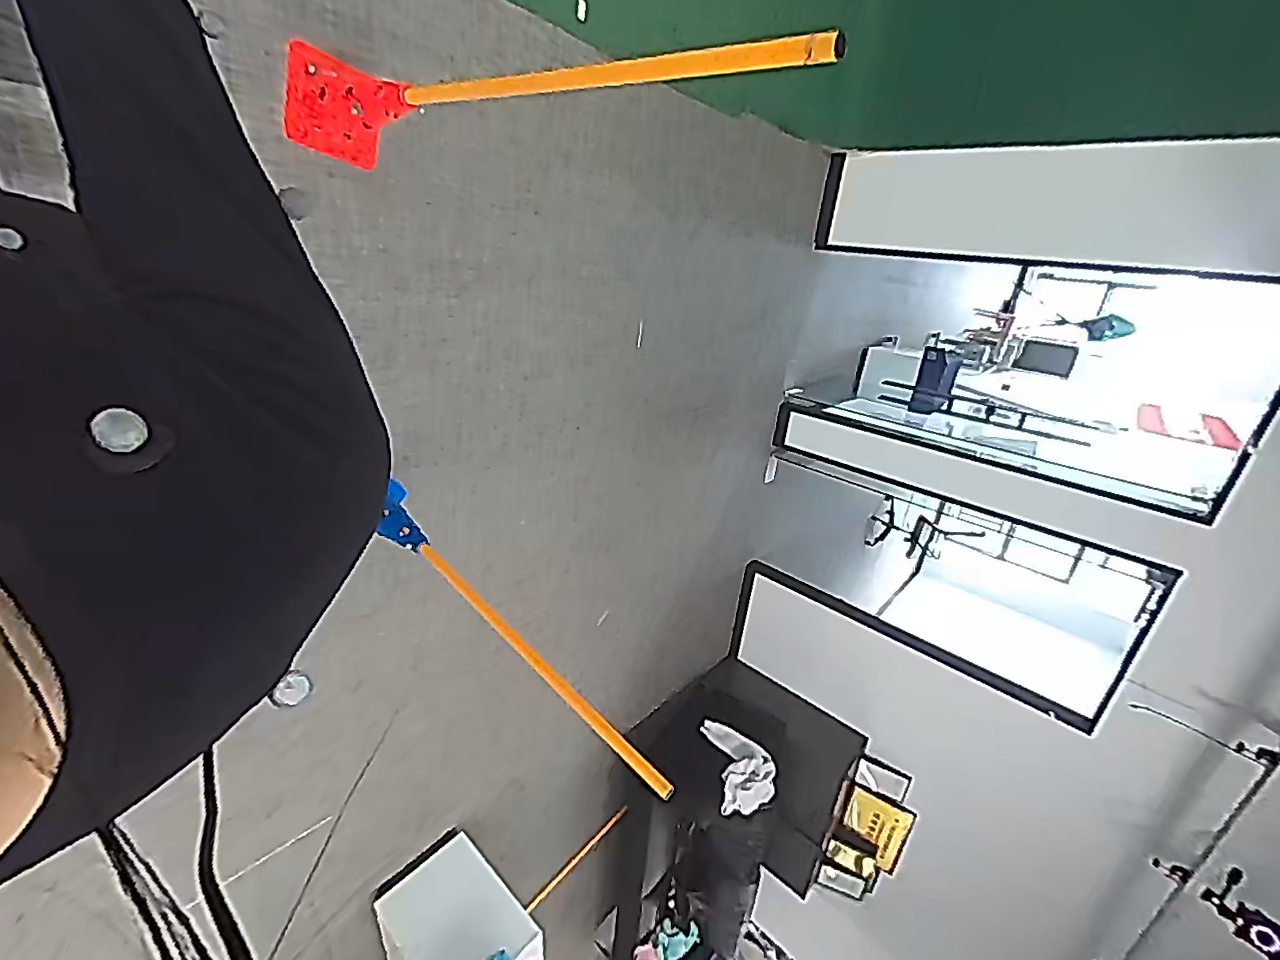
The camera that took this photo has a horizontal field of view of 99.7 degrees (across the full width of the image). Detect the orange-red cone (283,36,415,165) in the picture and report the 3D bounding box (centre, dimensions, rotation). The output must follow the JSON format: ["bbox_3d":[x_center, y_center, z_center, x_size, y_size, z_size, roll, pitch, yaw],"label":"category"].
[{"bbox_3d":[-0.569,-0.795,1.128,0.198,0.360,0.199,-2,112,-50],"label":"orange-red cone"}]
